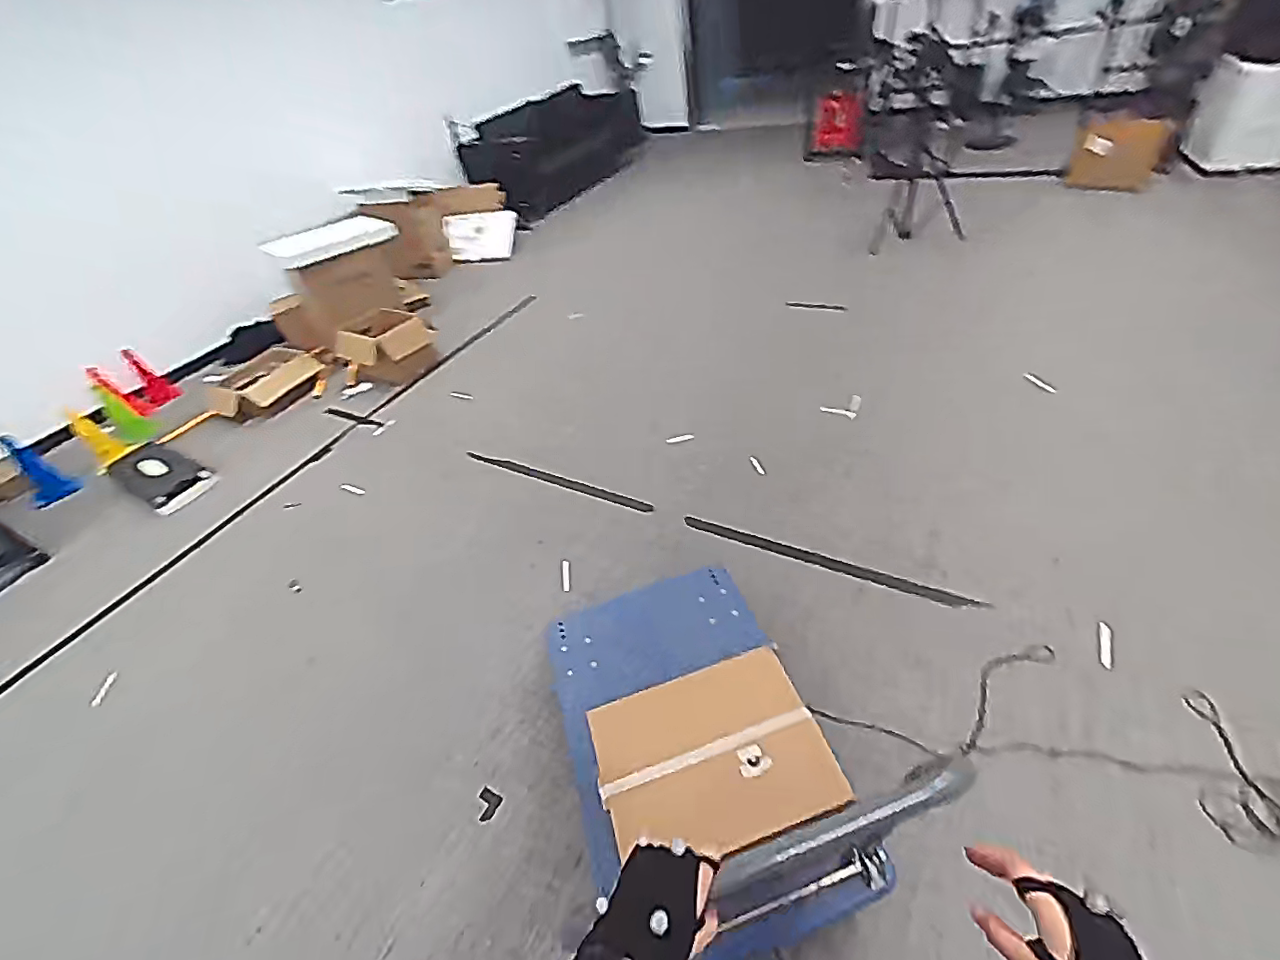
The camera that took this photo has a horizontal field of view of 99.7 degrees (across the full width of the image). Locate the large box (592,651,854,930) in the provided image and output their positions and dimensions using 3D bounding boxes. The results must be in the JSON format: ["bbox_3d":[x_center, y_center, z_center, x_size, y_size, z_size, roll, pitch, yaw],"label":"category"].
[{"bbox_3d":[0.152,0.619,1.091,0.408,0.320,0.320,-17,42,-8],"label":"large box"}]
